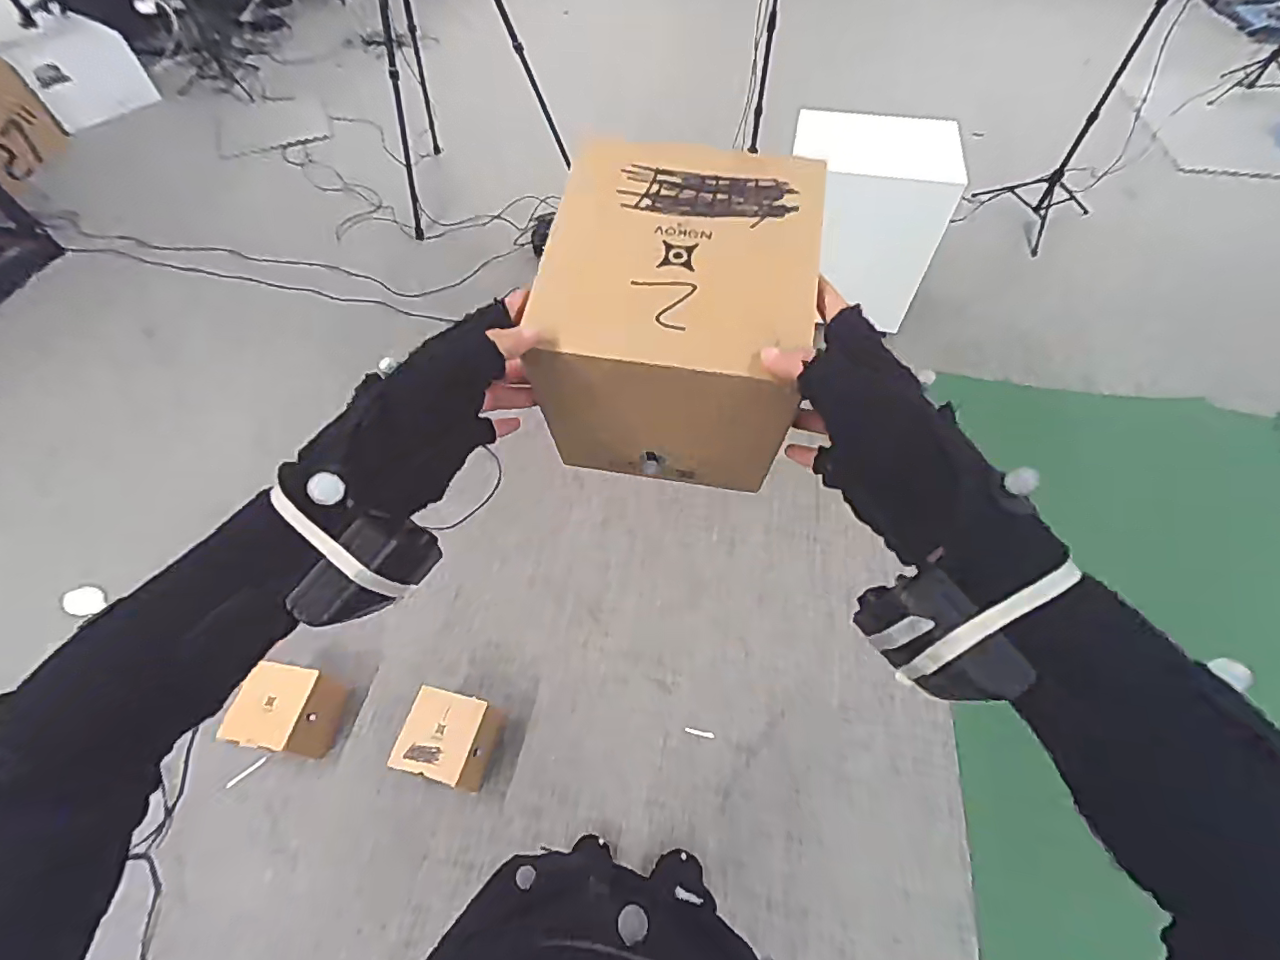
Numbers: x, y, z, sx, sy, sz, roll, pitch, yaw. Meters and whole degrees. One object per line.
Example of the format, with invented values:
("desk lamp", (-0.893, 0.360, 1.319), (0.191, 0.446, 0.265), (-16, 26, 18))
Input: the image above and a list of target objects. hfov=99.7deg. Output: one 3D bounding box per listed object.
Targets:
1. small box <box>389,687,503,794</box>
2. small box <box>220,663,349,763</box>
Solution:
("small box", (-0.437, 0.608, 1.253), (0.168, 0.176, 0.179), (11, 56, 9))
("small box", (-0.835, 0.562, 1.298), (0.168, 0.176, 0.179), (7, 57, 7))
